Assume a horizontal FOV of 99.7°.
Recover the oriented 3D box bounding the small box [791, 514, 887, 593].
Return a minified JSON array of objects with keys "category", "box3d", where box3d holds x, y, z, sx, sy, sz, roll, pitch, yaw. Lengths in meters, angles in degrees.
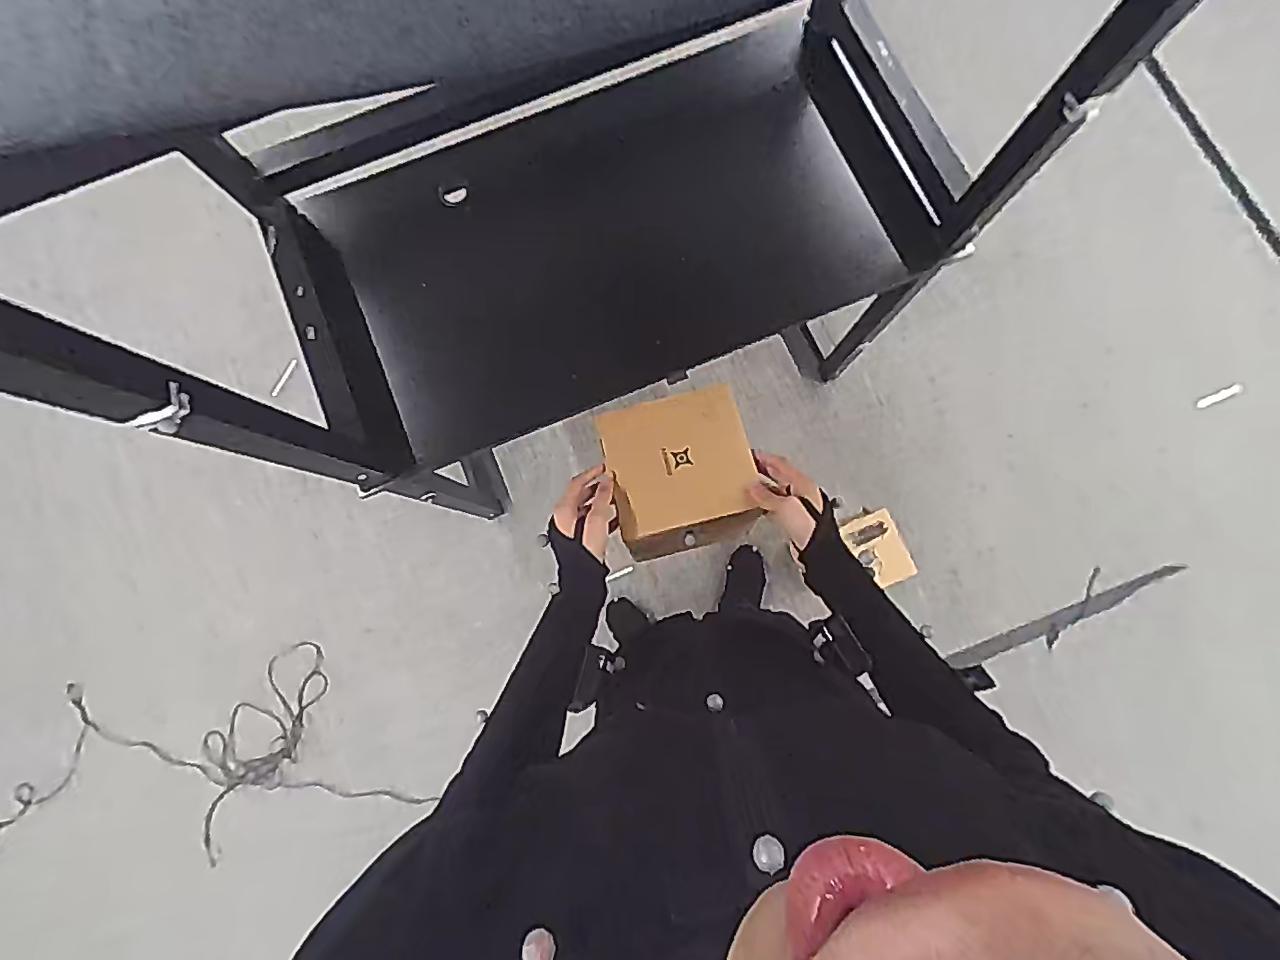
[{"category":"small box","box3d":[0.560,0.209,1.547,0.179,0.176,0.168,-25,81,-1]}]
